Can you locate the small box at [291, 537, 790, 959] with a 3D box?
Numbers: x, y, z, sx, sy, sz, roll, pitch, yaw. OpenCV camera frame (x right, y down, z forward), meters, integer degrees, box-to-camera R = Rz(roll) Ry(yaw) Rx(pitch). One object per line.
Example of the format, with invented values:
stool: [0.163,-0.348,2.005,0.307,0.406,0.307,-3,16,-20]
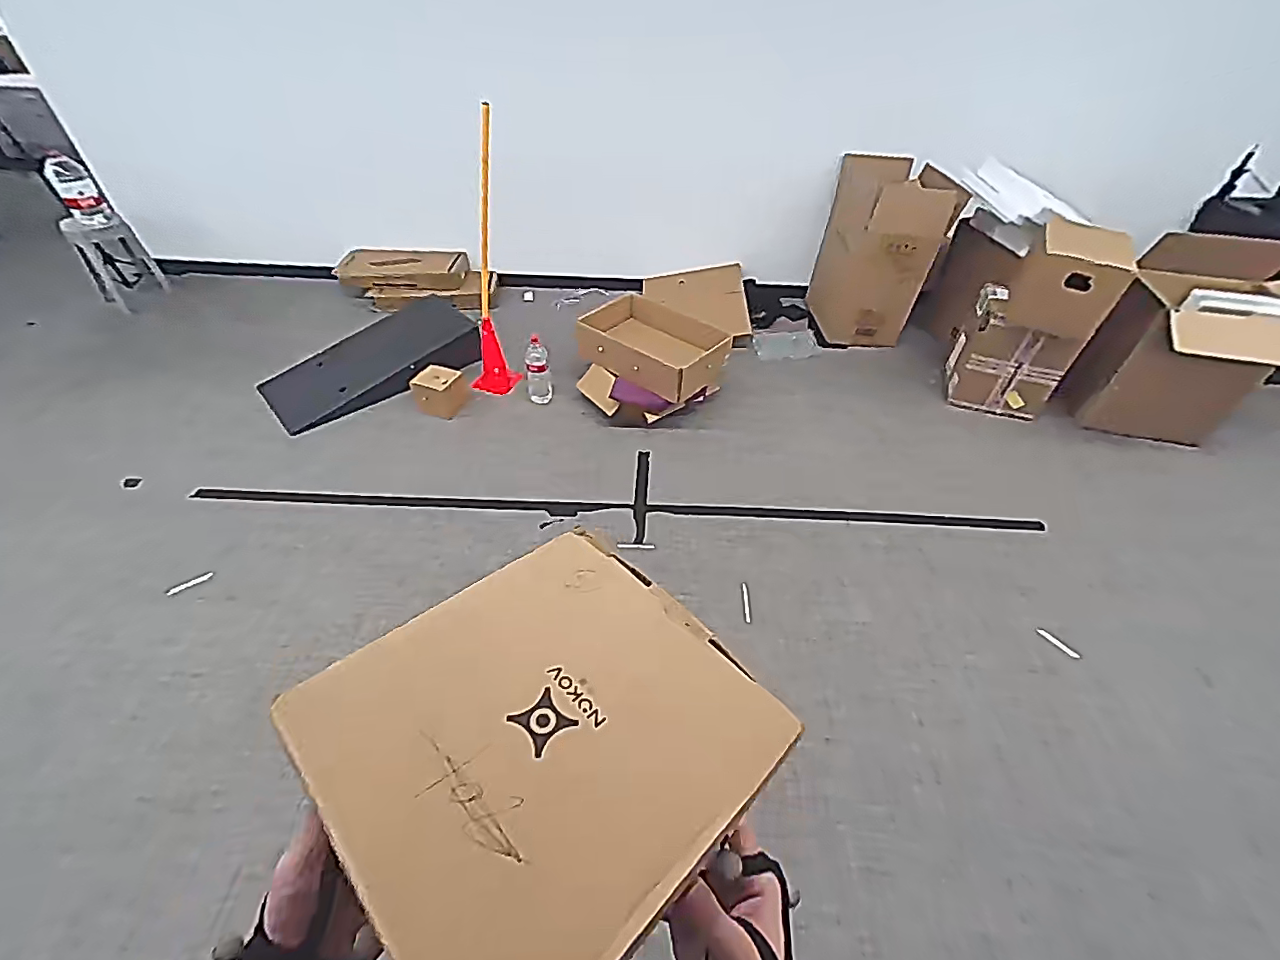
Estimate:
small box: [-0.051,0.171,0.305,0.168,0.176,0.179,36,48,29]
